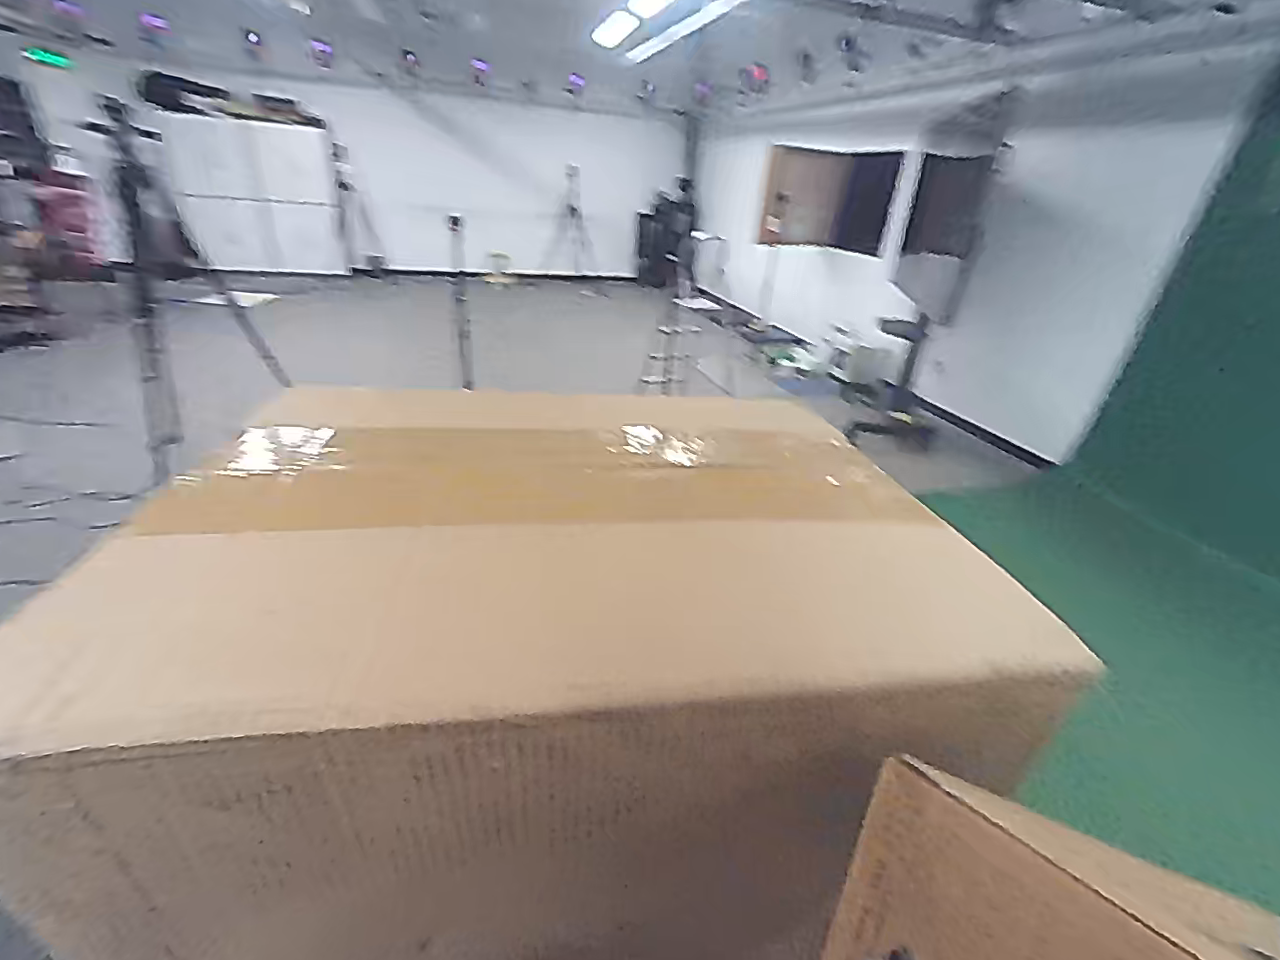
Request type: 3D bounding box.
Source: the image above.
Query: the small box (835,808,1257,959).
[{"bbox_3d":[0.170,0.240,0.165,0.179,0.168,0.176,23,-12,6],"label":"small box"}]
